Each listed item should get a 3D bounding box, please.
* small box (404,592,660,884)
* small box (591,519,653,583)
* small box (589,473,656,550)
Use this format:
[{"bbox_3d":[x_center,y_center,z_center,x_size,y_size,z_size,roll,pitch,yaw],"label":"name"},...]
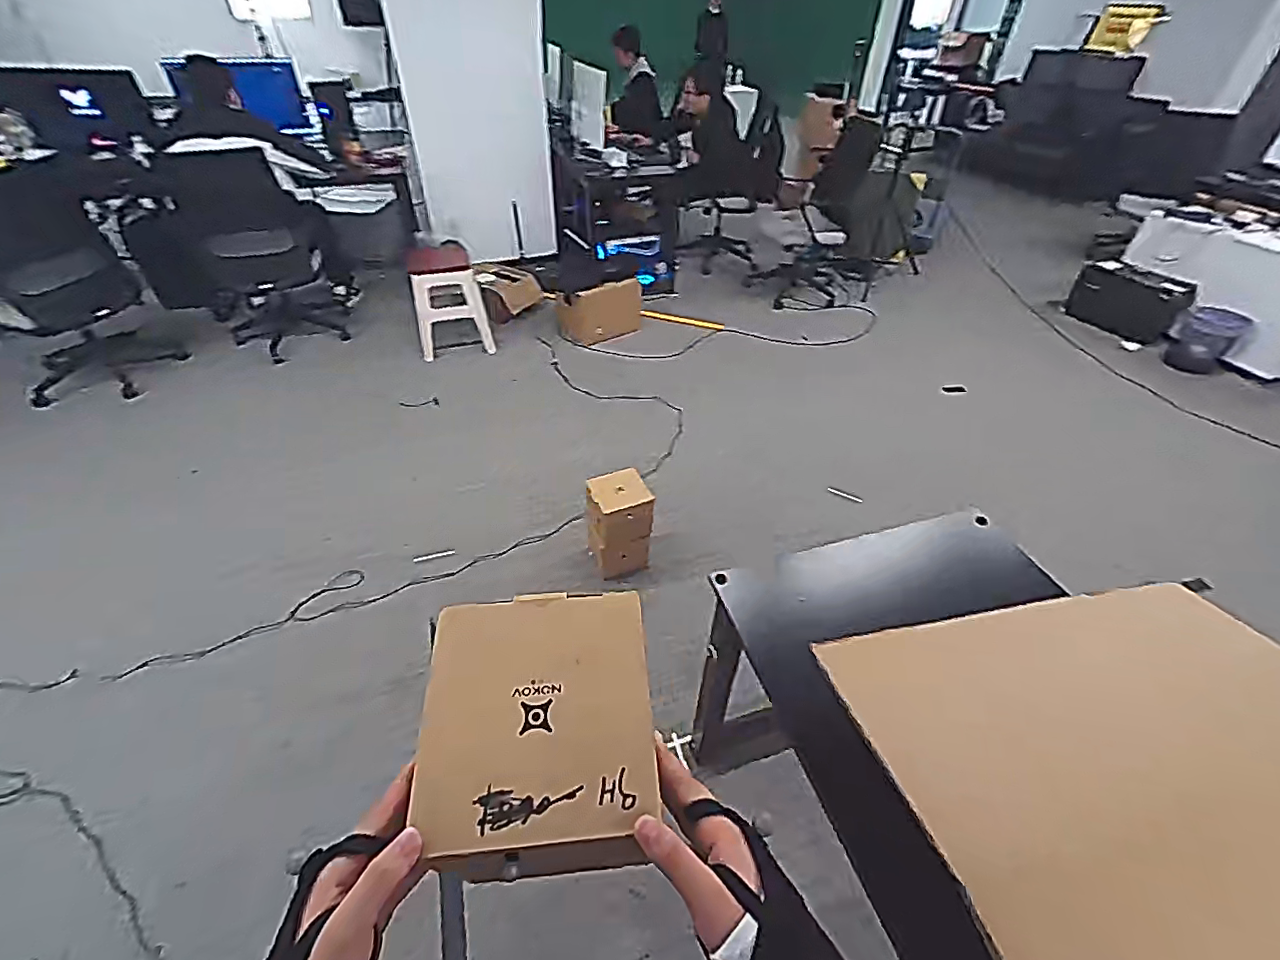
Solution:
[{"bbox_3d":[-0.076,0.218,0.459,0.168,0.176,0.179,-5,49,-3],"label":"small box"},{"bbox_3d":[-0.067,0.231,1.894,0.179,0.176,0.168,-14,44,-16],"label":"small box"},{"bbox_3d":[-0.058,0.107,1.789,0.179,0.176,0.168,-16,45,-20],"label":"small box"}]
